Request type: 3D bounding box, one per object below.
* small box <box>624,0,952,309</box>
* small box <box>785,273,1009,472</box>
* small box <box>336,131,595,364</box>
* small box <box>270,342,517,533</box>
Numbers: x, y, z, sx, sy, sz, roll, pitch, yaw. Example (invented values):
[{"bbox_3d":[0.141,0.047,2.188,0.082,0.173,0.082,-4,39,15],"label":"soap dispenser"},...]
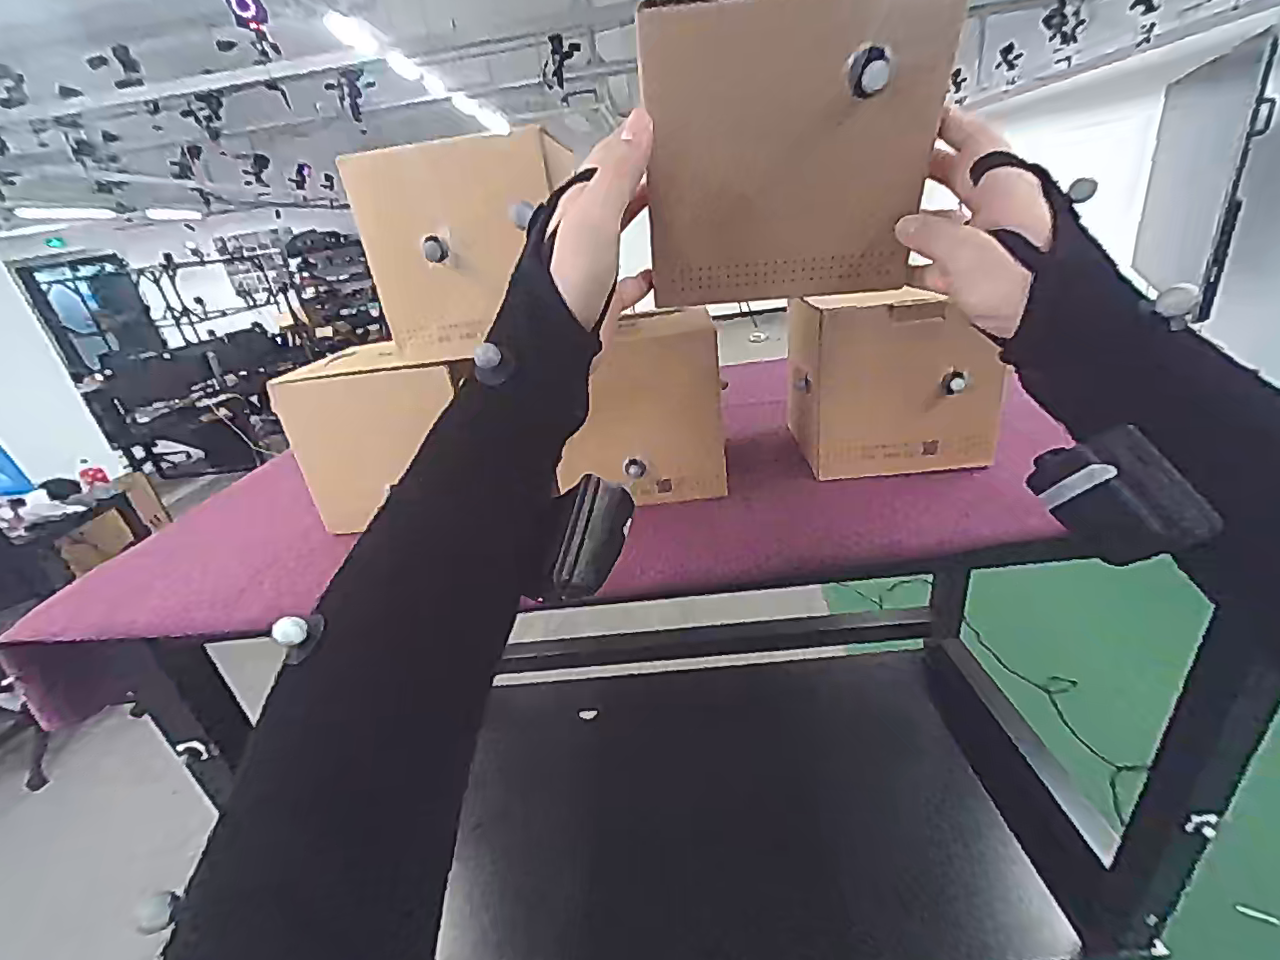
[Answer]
[{"bbox_3d":[0.088,-0.241,0.398,0.179,0.176,0.168,-4,39,5],"label":"small box"},{"bbox_3d":[0.251,-0.112,0.570,0.168,0.176,0.179,-4,24,8],"label":"small box"},{"bbox_3d":[-0.144,-0.214,0.525,0.168,0.176,0.179,-6,24,6],"label":"small box"},{"bbox_3d":[-0.250,-0.055,0.605,0.179,0.176,0.168,-5,25,4],"label":"small box"}]
